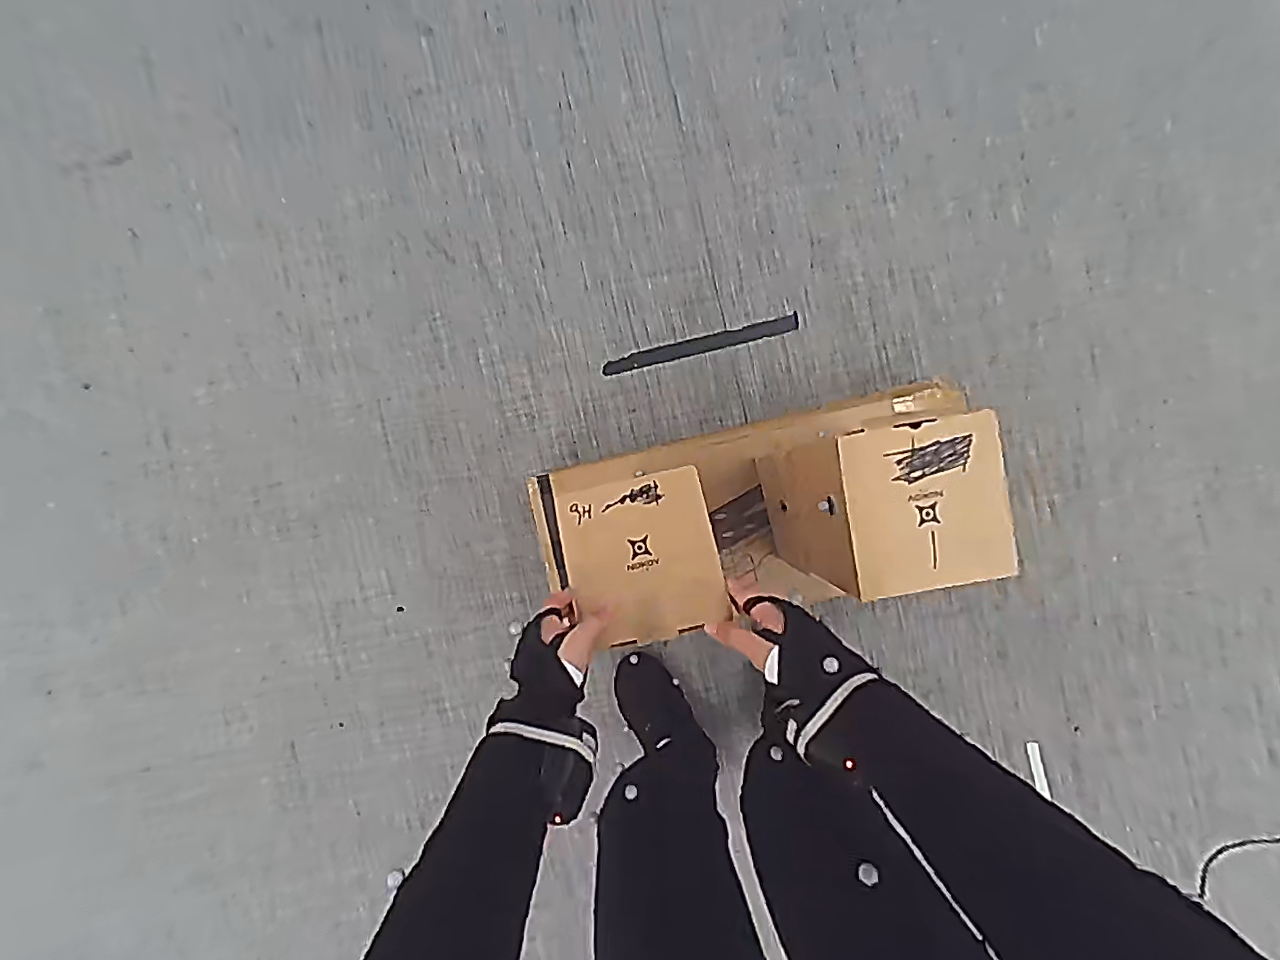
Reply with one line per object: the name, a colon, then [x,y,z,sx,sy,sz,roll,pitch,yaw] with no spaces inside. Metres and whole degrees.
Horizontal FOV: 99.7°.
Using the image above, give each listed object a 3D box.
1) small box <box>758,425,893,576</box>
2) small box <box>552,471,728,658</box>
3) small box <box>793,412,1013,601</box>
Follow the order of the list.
small box: [0.284,0.028,0.800,0.168,0.176,0.179,-13,91,1]
small box: [0.003,0.104,0.654,0.168,0.176,0.179,-12,76,0]
small box: [0.291,0.027,0.635,0.168,0.176,0.179,-10,91,1]
